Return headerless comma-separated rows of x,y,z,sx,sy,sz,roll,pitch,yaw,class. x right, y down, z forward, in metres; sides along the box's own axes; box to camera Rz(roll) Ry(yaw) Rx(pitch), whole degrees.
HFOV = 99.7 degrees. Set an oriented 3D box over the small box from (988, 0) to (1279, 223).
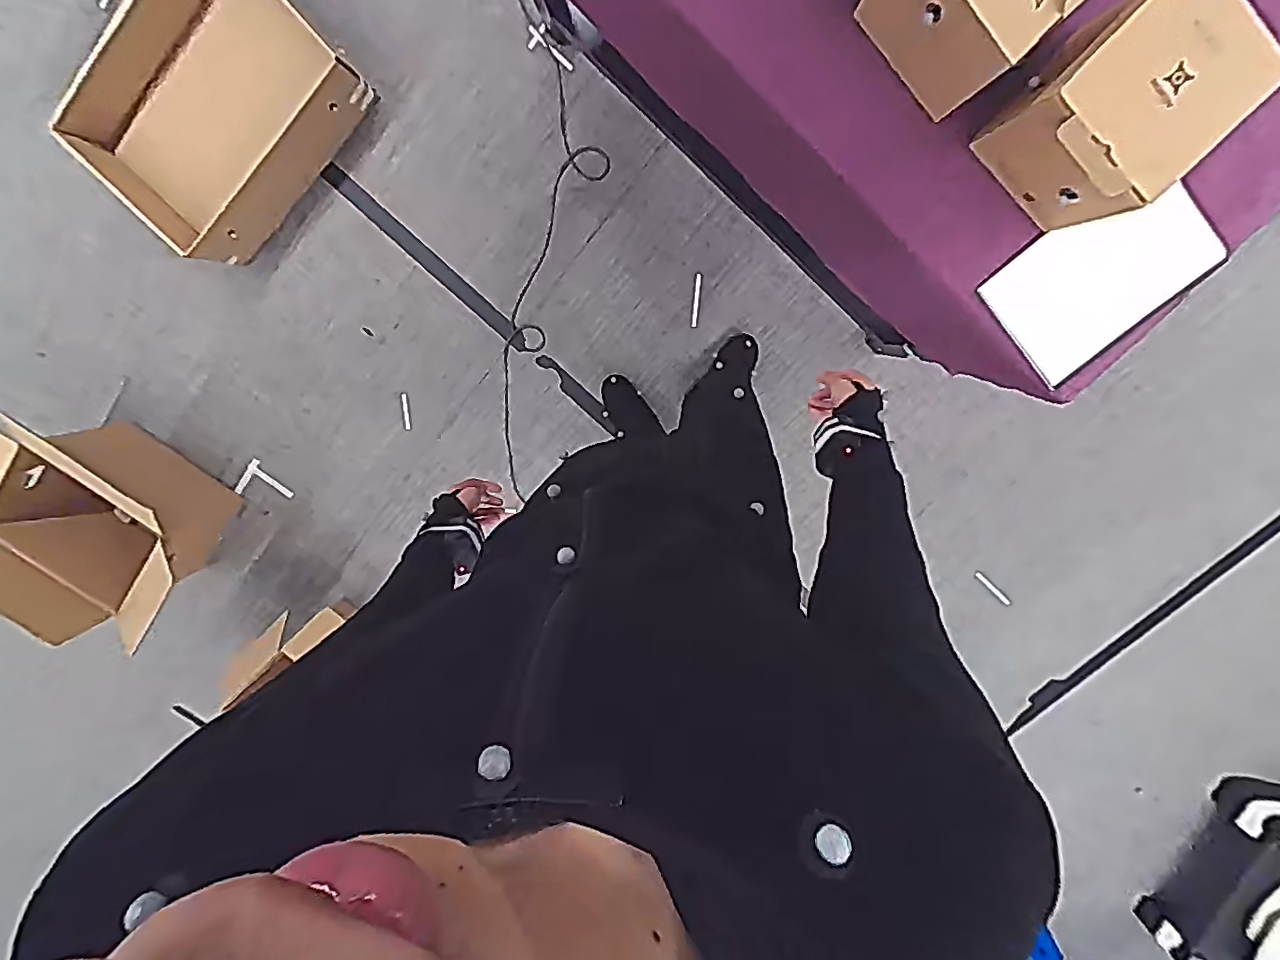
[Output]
0.550,-0.432,0.627,0.168,0.176,0.179,42,103,-10,small box
